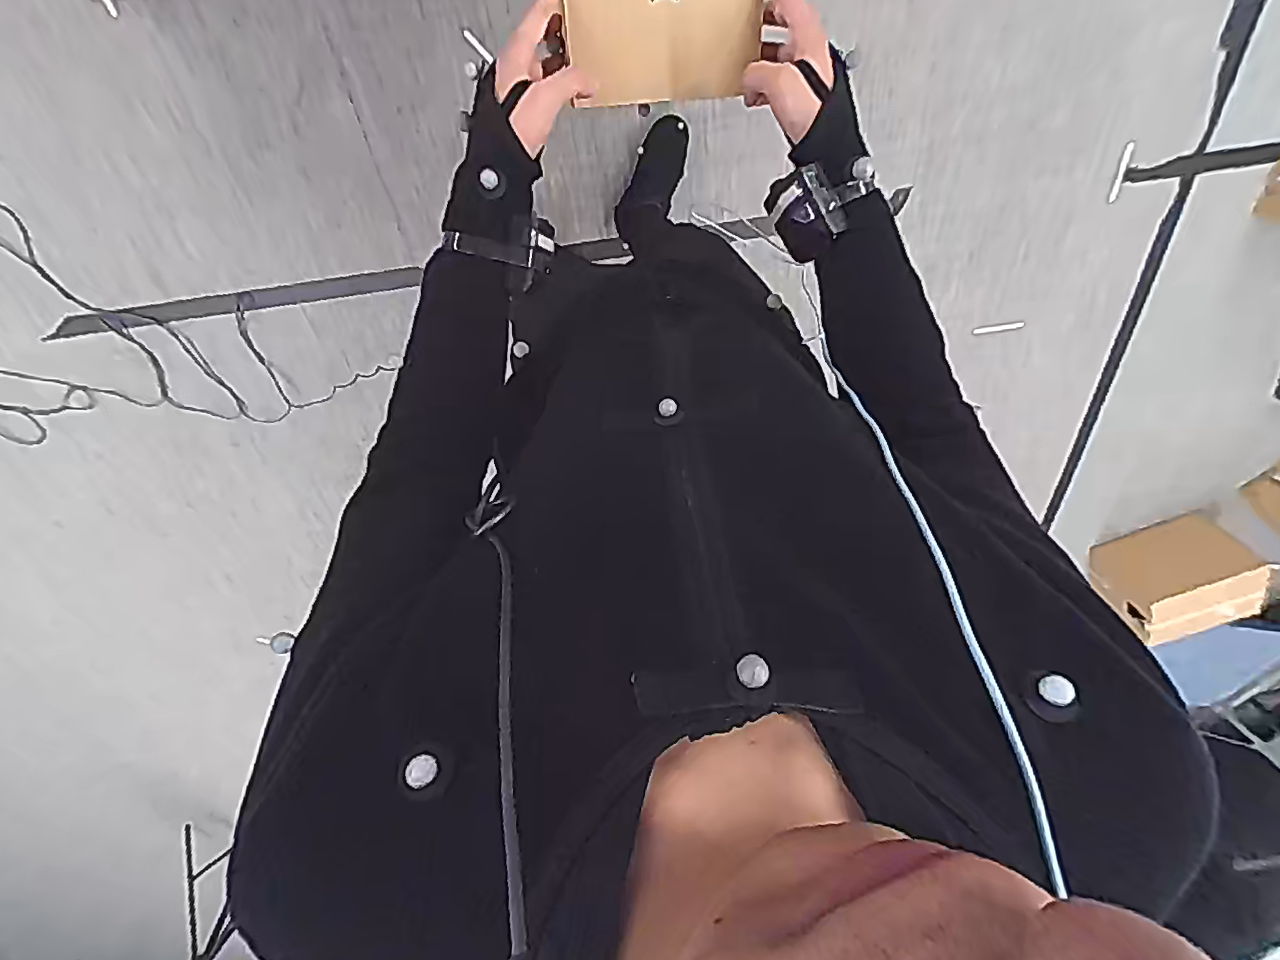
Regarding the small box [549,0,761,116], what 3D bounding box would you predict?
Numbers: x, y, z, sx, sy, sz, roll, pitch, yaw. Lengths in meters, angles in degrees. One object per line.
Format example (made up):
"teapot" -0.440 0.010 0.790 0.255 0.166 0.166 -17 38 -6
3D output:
"small box" 0.005 -0.442 0.483 0.168 0.176 0.179 -9 128 -6
